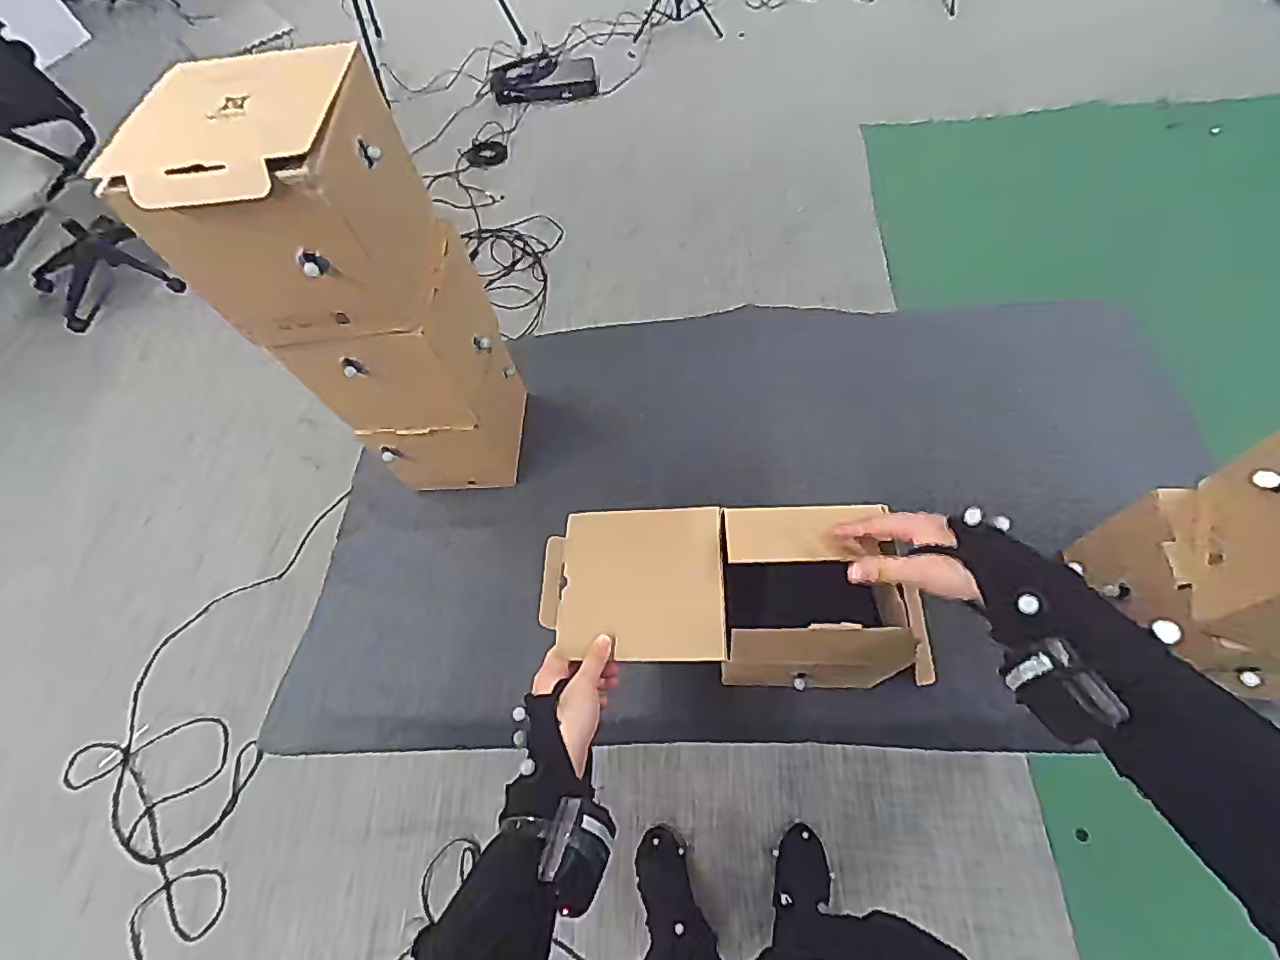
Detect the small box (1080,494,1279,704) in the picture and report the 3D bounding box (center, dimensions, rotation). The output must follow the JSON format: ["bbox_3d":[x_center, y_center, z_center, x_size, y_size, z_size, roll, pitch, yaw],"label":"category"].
[{"bbox_3d":[0.607,0.128,0.565,0.179,0.176,0.168,3,60,9],"label":"small box"}]

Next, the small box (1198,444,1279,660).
[{"bbox_3d":[0.594,0.060,0.416,0.179,0.176,0.168,23,64,18],"label":"small box"}]

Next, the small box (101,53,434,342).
[{"bbox_3d":[-0.308,-0.243,0.496,0.168,0.176,0.179,-5,62,2],"label":"small box"}]

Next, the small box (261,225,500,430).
[{"bbox_3d":[-0.285,-0.170,0.639,0.179,0.176,0.168,-2,64,5],"label":"small box"}]
